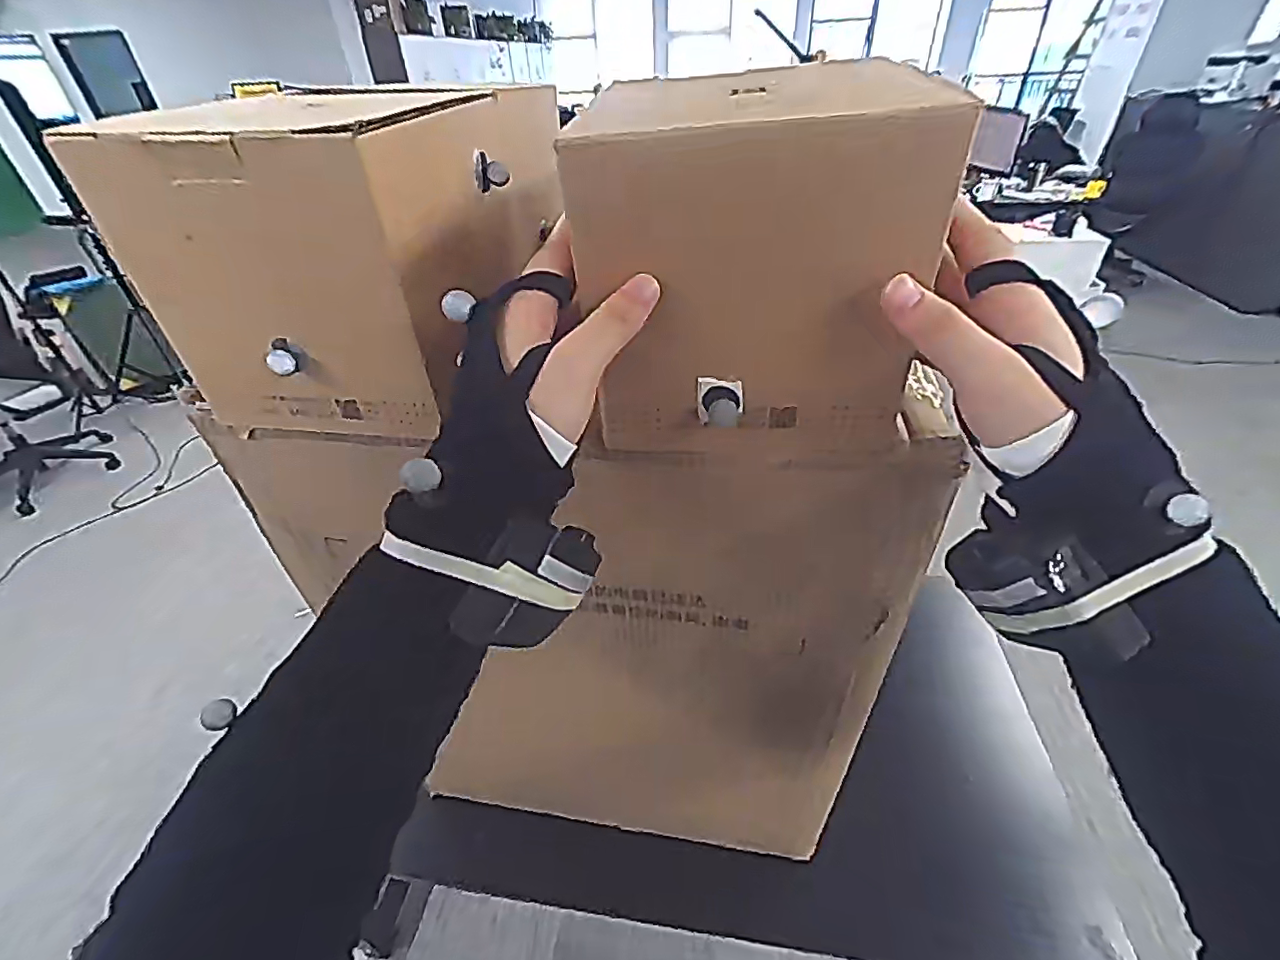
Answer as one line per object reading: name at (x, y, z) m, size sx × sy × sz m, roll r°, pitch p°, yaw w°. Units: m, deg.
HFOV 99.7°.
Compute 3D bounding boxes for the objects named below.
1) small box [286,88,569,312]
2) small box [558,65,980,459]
small box at (-0.178, -0.269, 0.518) m, size 0.179 × 0.176 × 0.168 m, roll 5°, pitch 37°, yaw 8°
small box at (0.061, -0.131, 0.325) m, size 0.168 × 0.176 × 0.179 m, roll -1°, pitch 41°, yaw 8°
